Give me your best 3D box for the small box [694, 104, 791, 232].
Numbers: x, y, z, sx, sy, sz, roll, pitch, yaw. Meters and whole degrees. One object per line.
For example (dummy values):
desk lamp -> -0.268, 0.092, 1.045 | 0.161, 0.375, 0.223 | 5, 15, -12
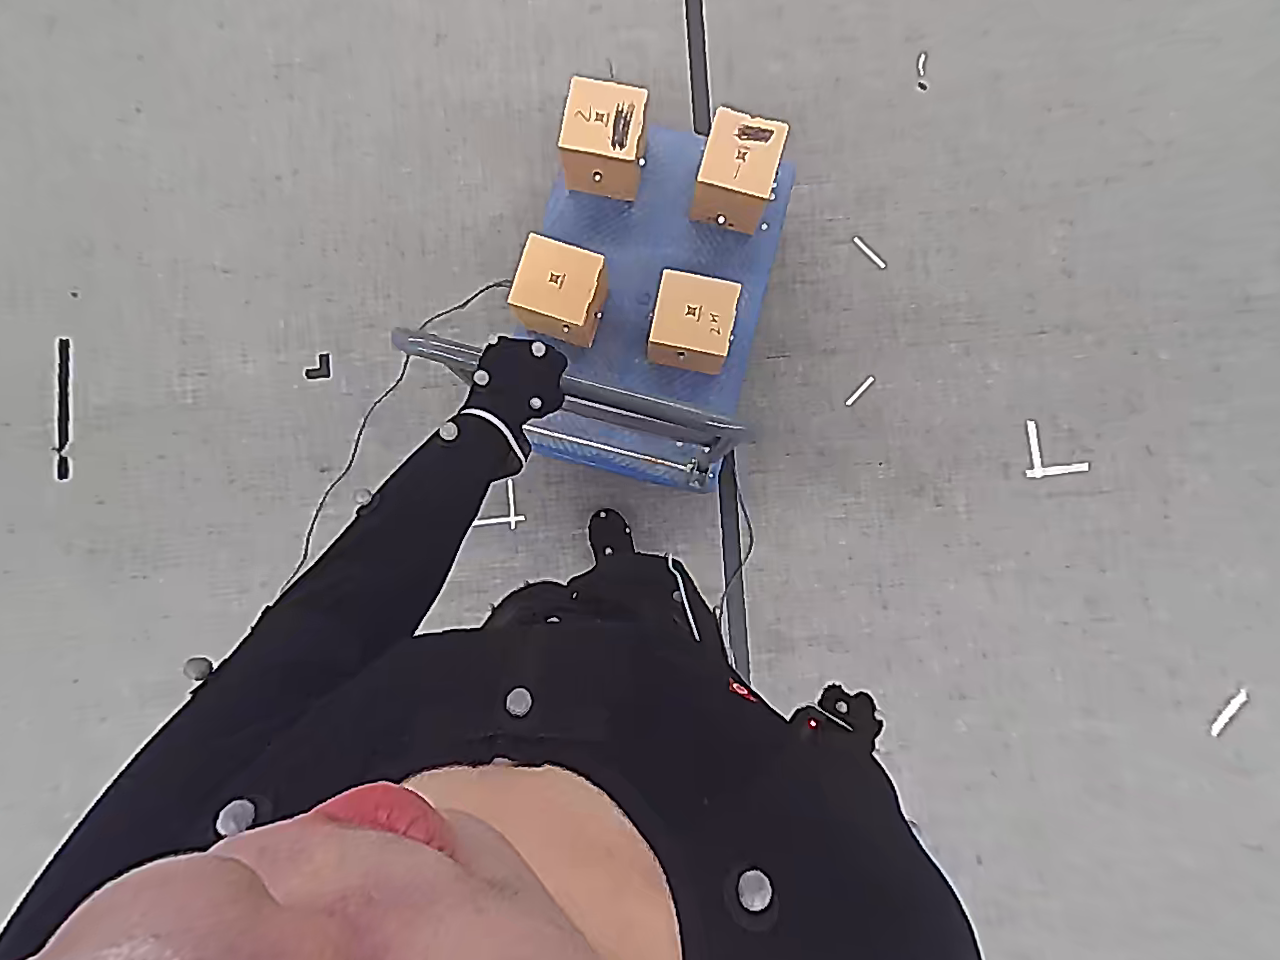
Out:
small box -> 0.230, -0.720, 1.263 | 0.168, 0.176, 0.179 | 16, 89, 1

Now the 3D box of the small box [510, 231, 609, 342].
small box -> -0.179, -0.439, 1.254 | 0.179, 0.176, 0.168 | 18, 87, -1

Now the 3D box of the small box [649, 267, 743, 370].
small box -> 0.123, -0.364, 1.250 | 0.179, 0.176, 0.168 | 12, 88, 1
